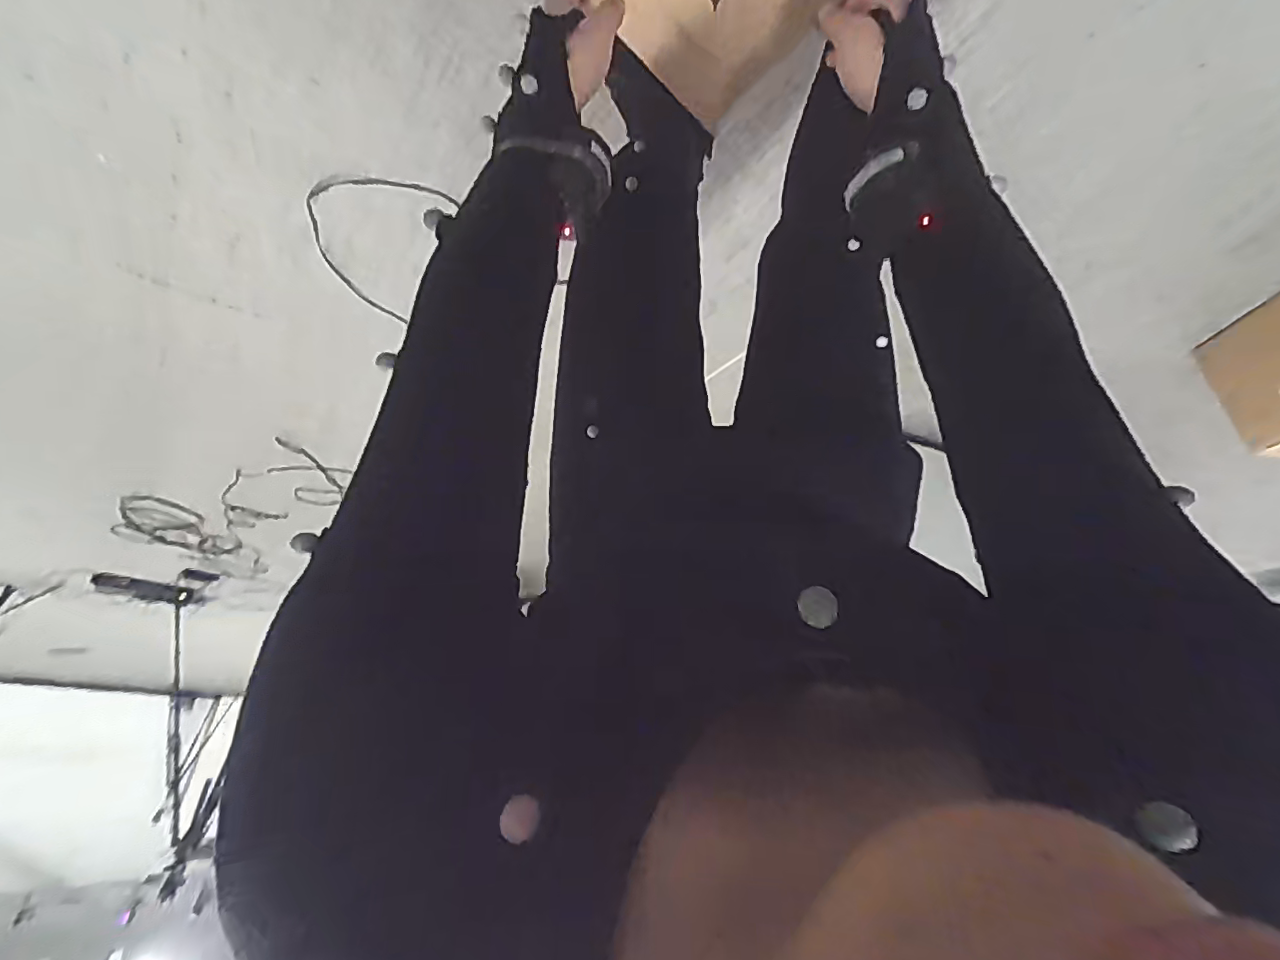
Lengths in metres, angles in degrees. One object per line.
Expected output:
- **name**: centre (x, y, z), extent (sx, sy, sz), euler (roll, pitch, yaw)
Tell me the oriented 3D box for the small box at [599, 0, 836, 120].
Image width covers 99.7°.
- **small box**: centre (0.075, -0.486, 0.477), extent (0.168, 0.176, 0.179), euler (27, 147, -34)
